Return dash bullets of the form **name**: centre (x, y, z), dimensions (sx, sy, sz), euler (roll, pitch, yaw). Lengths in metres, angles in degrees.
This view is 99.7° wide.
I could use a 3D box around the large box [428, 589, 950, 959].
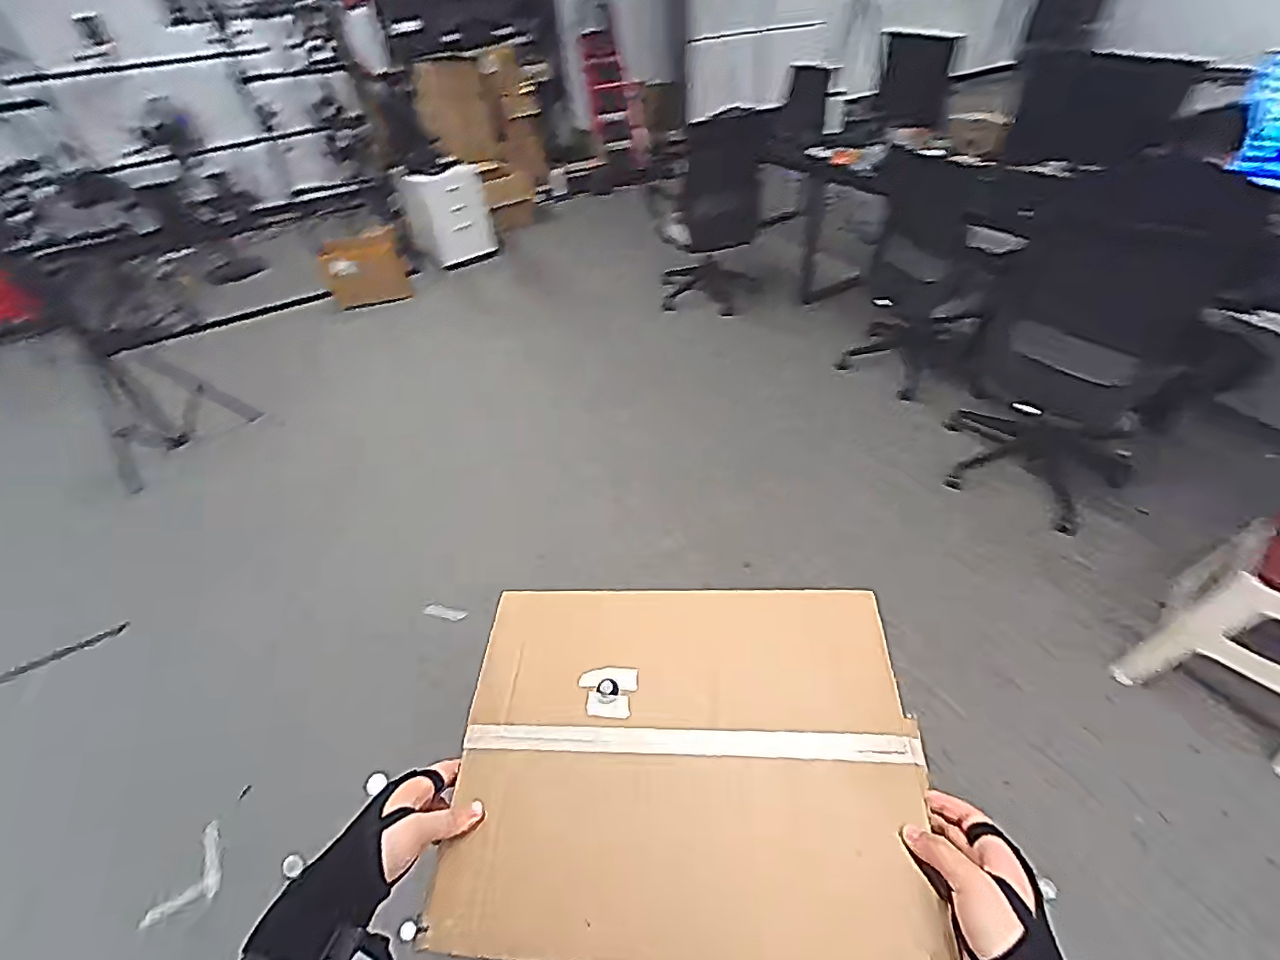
- **large box**: centre (0.053, 0.343, 0.612), dimensions (0.408, 0.320, 0.320), euler (-4, 48, 8)
